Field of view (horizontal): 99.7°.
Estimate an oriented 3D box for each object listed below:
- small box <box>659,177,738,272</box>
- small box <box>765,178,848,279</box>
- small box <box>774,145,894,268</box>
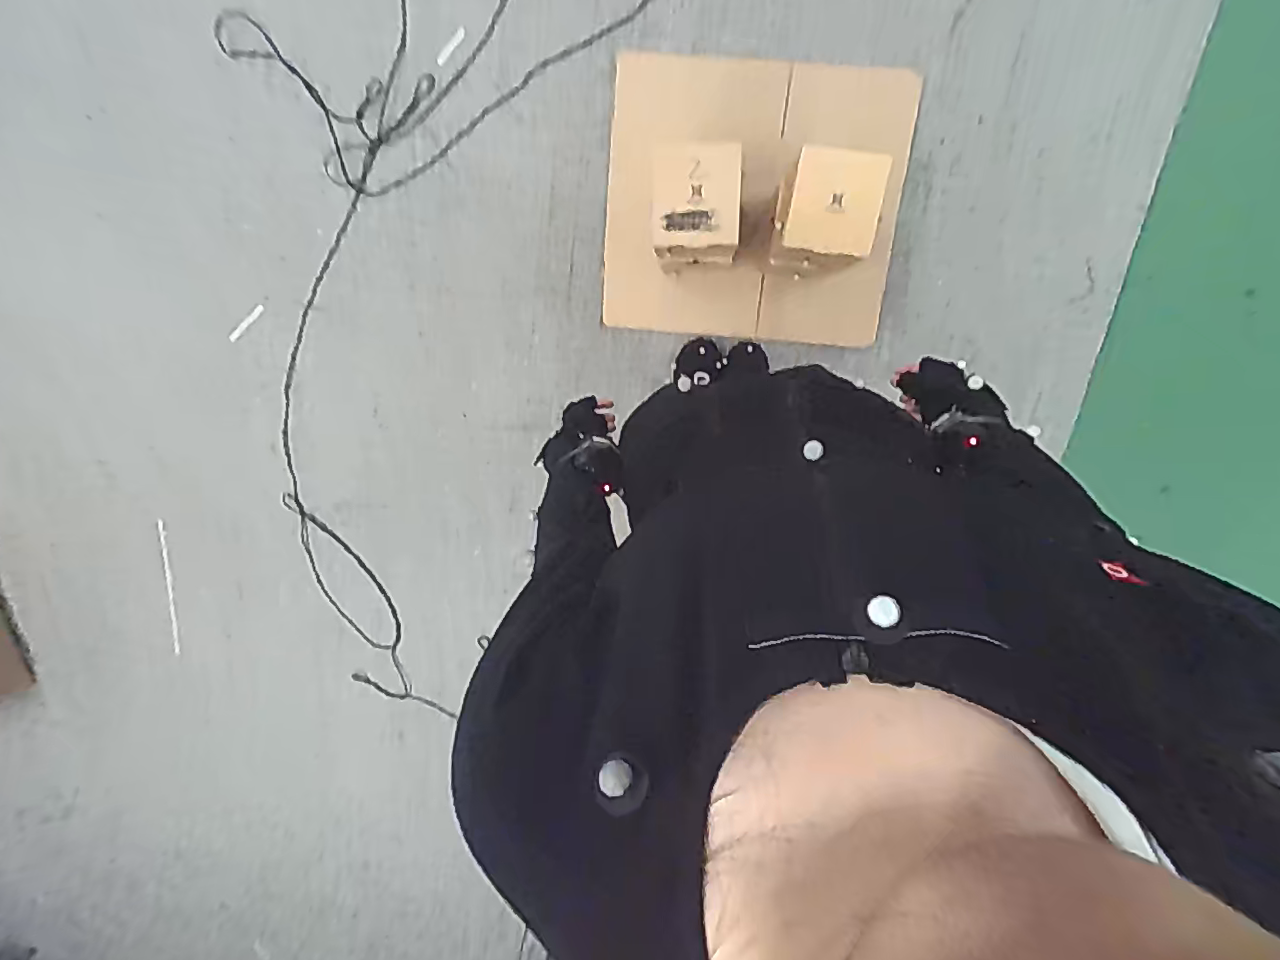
[{"bbox_3d":[0.133,-0.578,1.243,0.168,0.176,0.179,2,105,5],"label":"small box"},{"bbox_3d":[0.384,-0.564,1.228,0.168,0.176,0.179,6,105,5],"label":"small box"},{"bbox_3d":[0.371,-0.530,1.070,0.168,0.176,0.179,9,106,3],"label":"small box"}]
